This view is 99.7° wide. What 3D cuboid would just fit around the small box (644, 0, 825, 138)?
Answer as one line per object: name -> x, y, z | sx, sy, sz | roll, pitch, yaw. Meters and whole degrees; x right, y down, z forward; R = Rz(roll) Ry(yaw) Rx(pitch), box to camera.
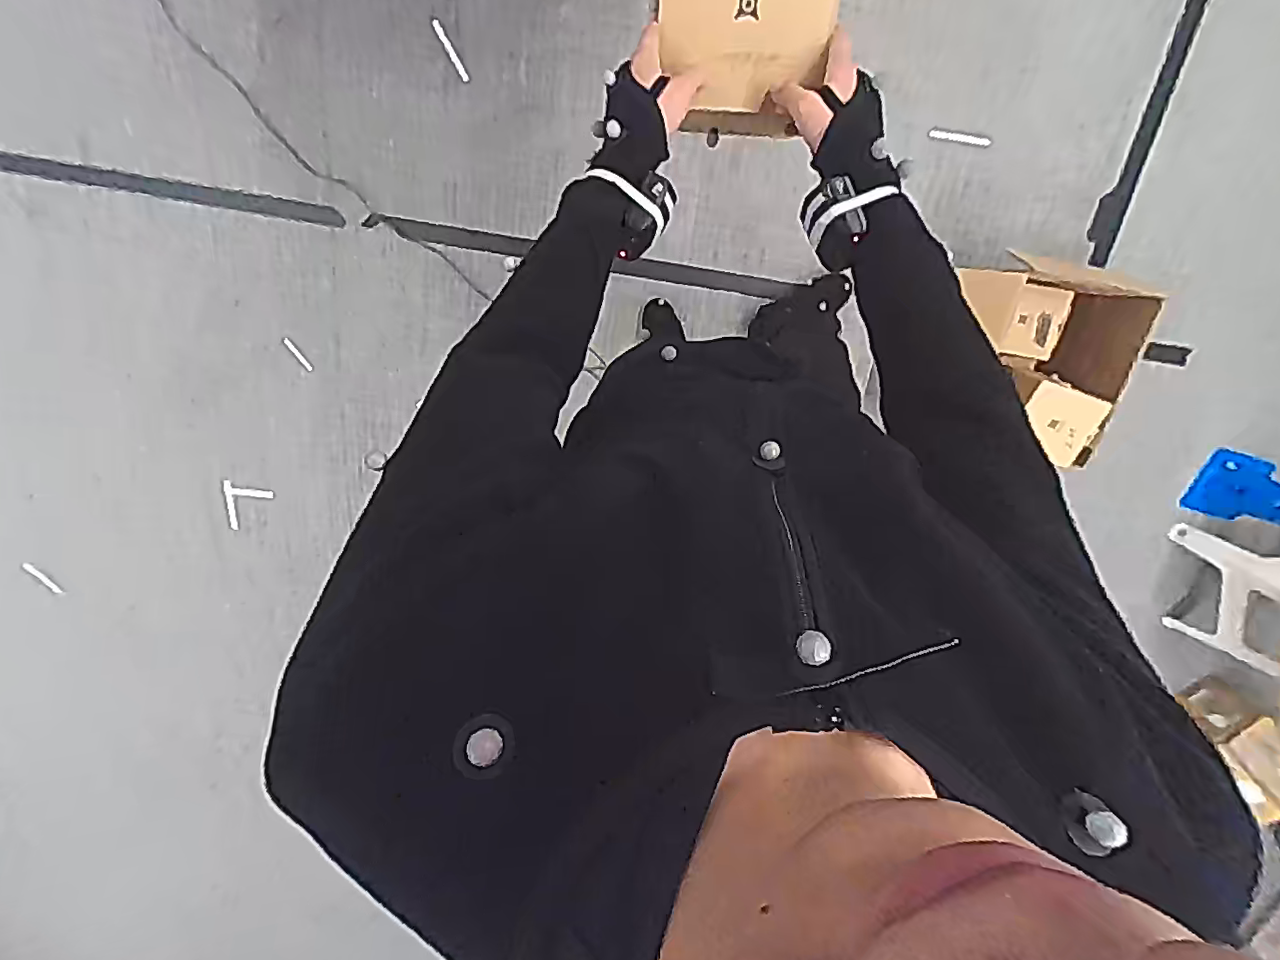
small box -> 0.095, -0.481, 0.571 | 0.168, 0.176, 0.179 | 5, 115, 3
